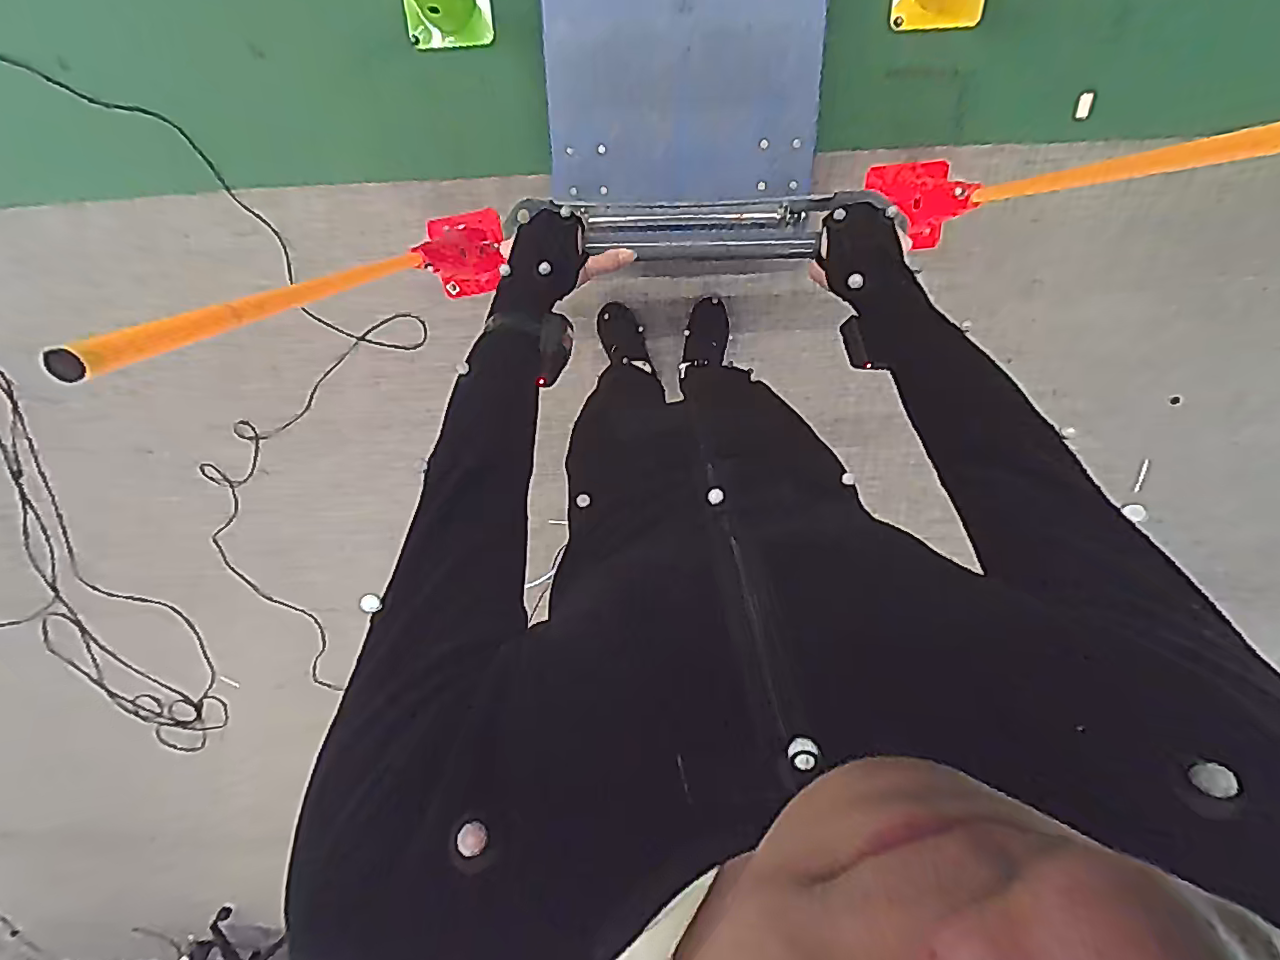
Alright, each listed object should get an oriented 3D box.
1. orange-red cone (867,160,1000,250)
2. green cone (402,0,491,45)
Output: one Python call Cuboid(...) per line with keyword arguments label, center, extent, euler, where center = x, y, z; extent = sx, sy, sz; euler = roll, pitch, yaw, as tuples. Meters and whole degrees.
Cuboid(label="orange-red cone", center=(0.658, -0.608, 1.171), extent=(0.198, 0.360, 0.199), euler=(-1, 112, 3))
Cuboid(label="green cone", center=(-0.448, -1.028, 1.043), extent=(0.200, 0.368, 0.202), euler=(-1, 113, 4))
